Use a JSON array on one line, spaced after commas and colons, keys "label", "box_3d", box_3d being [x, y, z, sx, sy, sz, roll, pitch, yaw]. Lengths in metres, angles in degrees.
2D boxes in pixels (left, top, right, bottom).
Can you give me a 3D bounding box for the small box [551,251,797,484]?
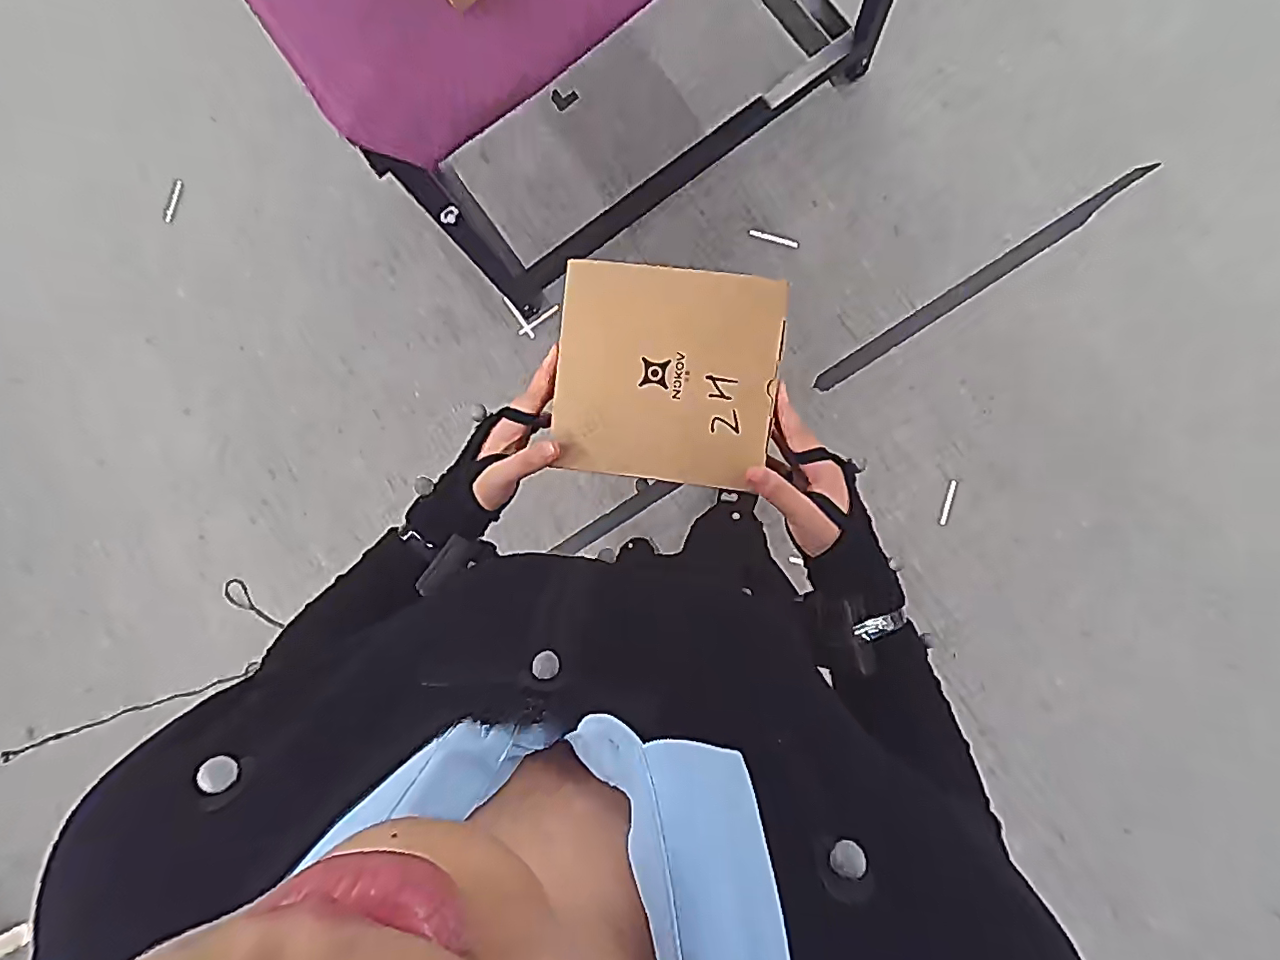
[{"label": "small box", "box_3d": [0.030, -0.094, 0.501, 0.179, 0.176, 0.168, 7, 96, 4]}]
